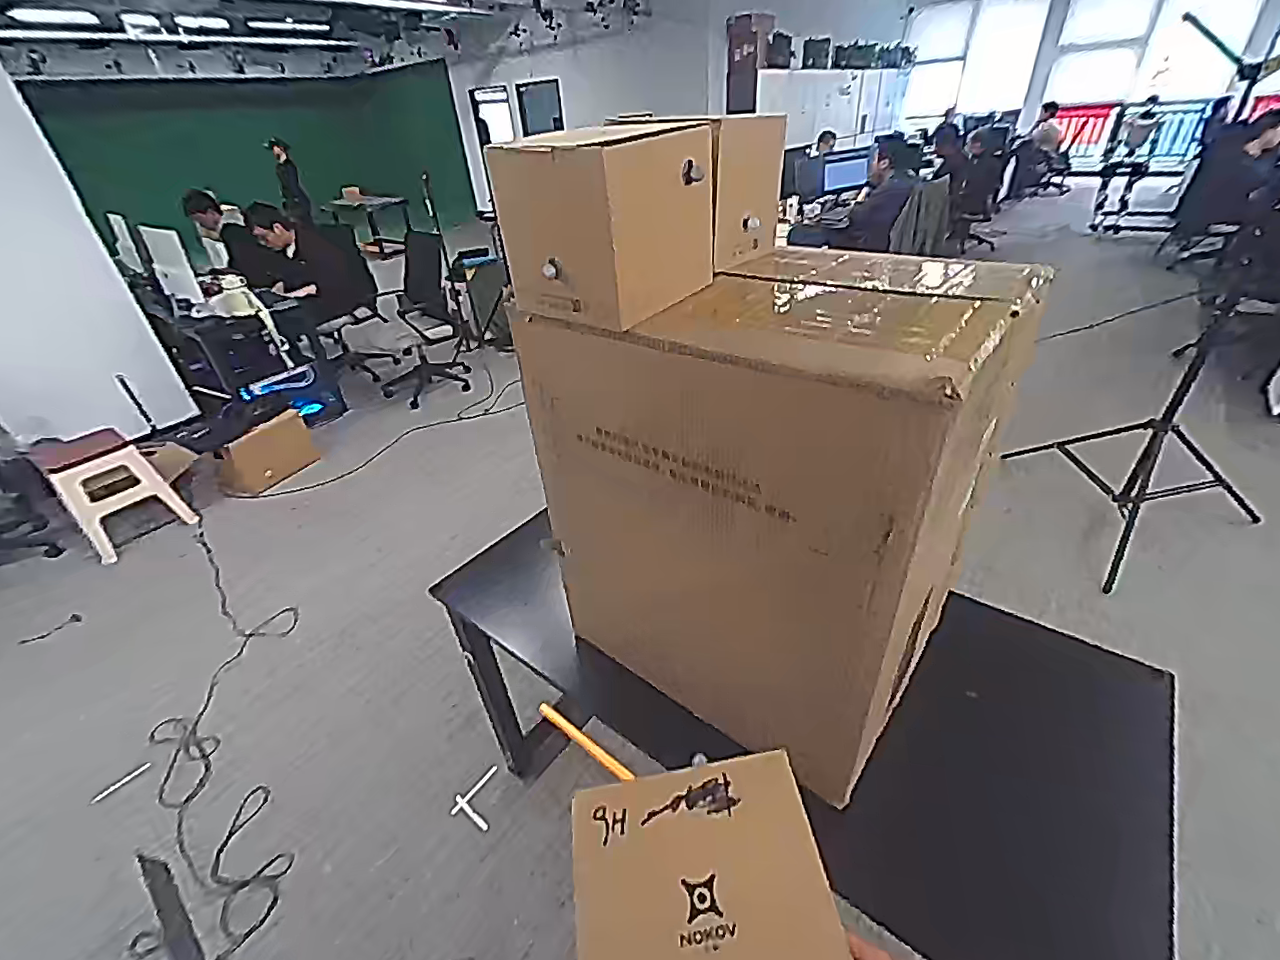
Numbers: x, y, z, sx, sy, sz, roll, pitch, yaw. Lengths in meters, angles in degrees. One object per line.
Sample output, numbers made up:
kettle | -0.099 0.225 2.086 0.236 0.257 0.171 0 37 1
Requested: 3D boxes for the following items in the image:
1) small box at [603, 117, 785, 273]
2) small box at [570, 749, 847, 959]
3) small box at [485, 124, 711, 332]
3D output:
small box | 0.071 -0.386 0.730 0.179 0.176 0.168 23 41 33
small box | 0.051 0.330 0.399 0.168 0.176 0.179 -12 45 0
small box | -0.037 -0.283 0.598 0.168 0.176 0.179 22 45 33
